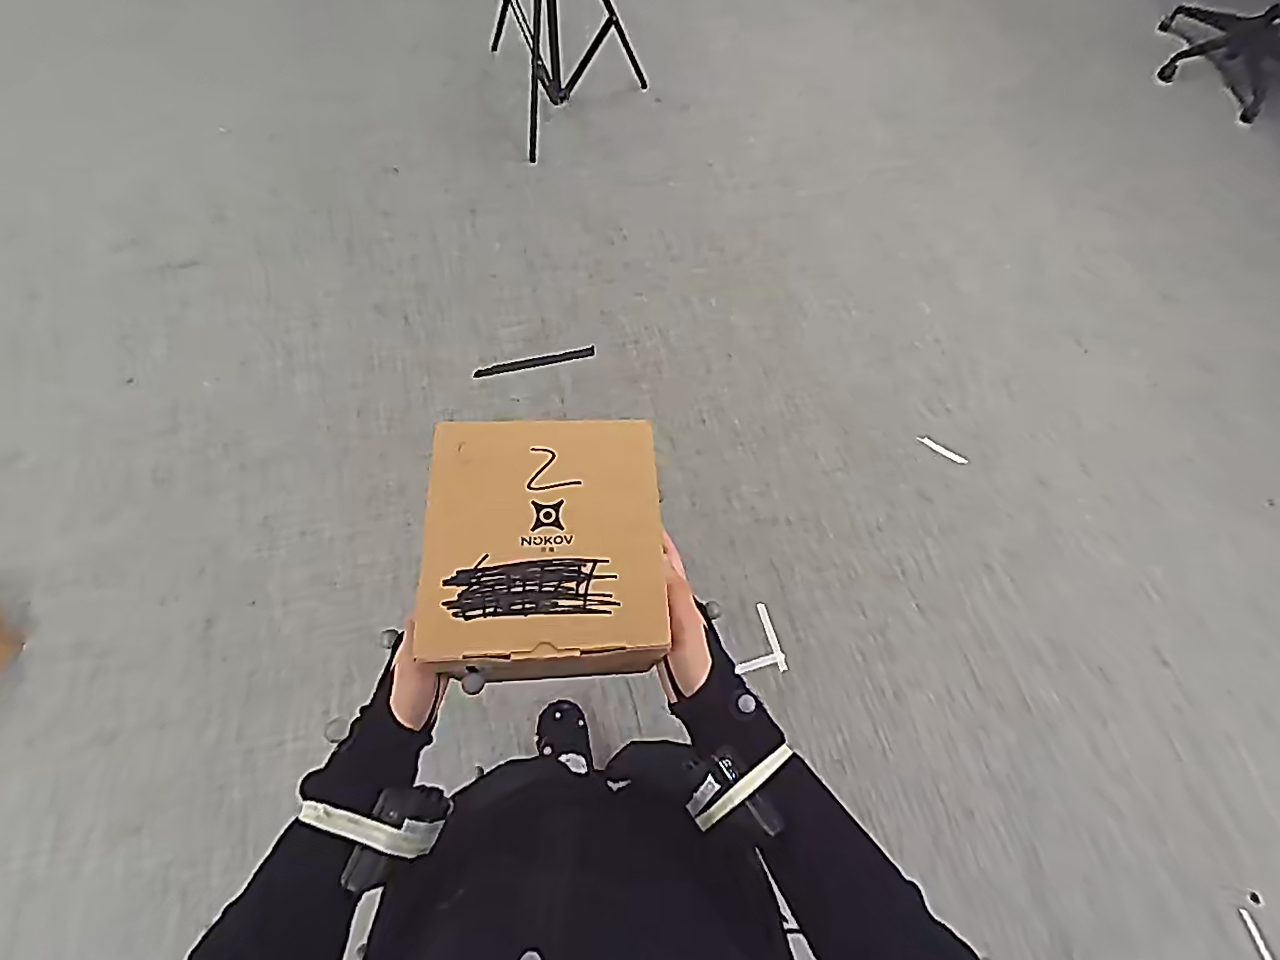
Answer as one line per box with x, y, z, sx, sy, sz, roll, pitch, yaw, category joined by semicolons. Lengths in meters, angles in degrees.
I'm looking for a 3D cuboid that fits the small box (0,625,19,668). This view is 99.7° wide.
-1.542;0.374;1.172;0.179;0.176;0.168;37;70;10;small box
